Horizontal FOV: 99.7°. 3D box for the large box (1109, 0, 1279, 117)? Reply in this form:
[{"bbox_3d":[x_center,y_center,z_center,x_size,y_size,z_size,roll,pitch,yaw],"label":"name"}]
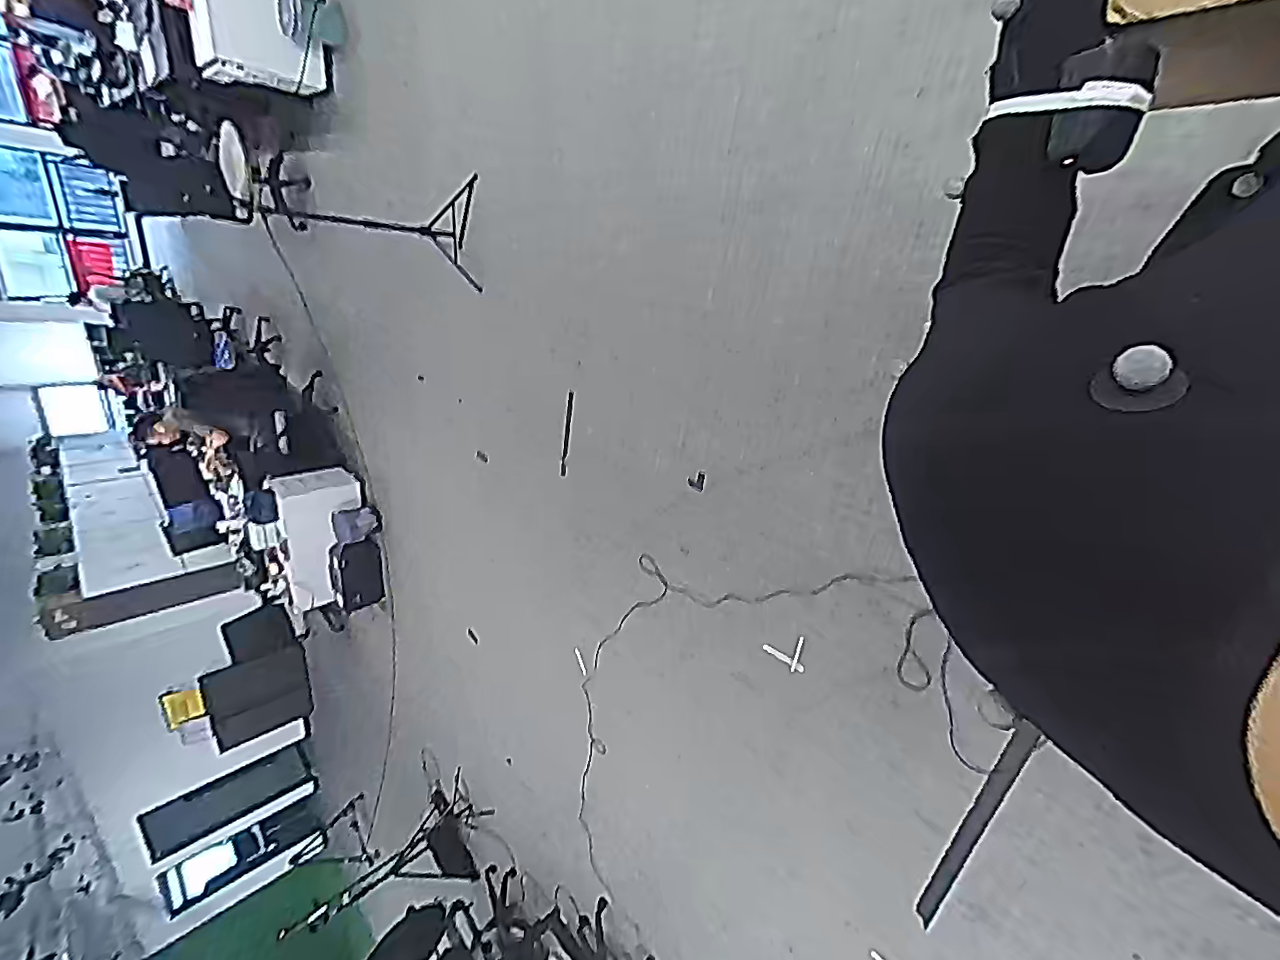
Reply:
[{"bbox_3d":[0.543,-0.420,0.273,0.408,0.320,0.320,19,120,38],"label":"large box"}]
